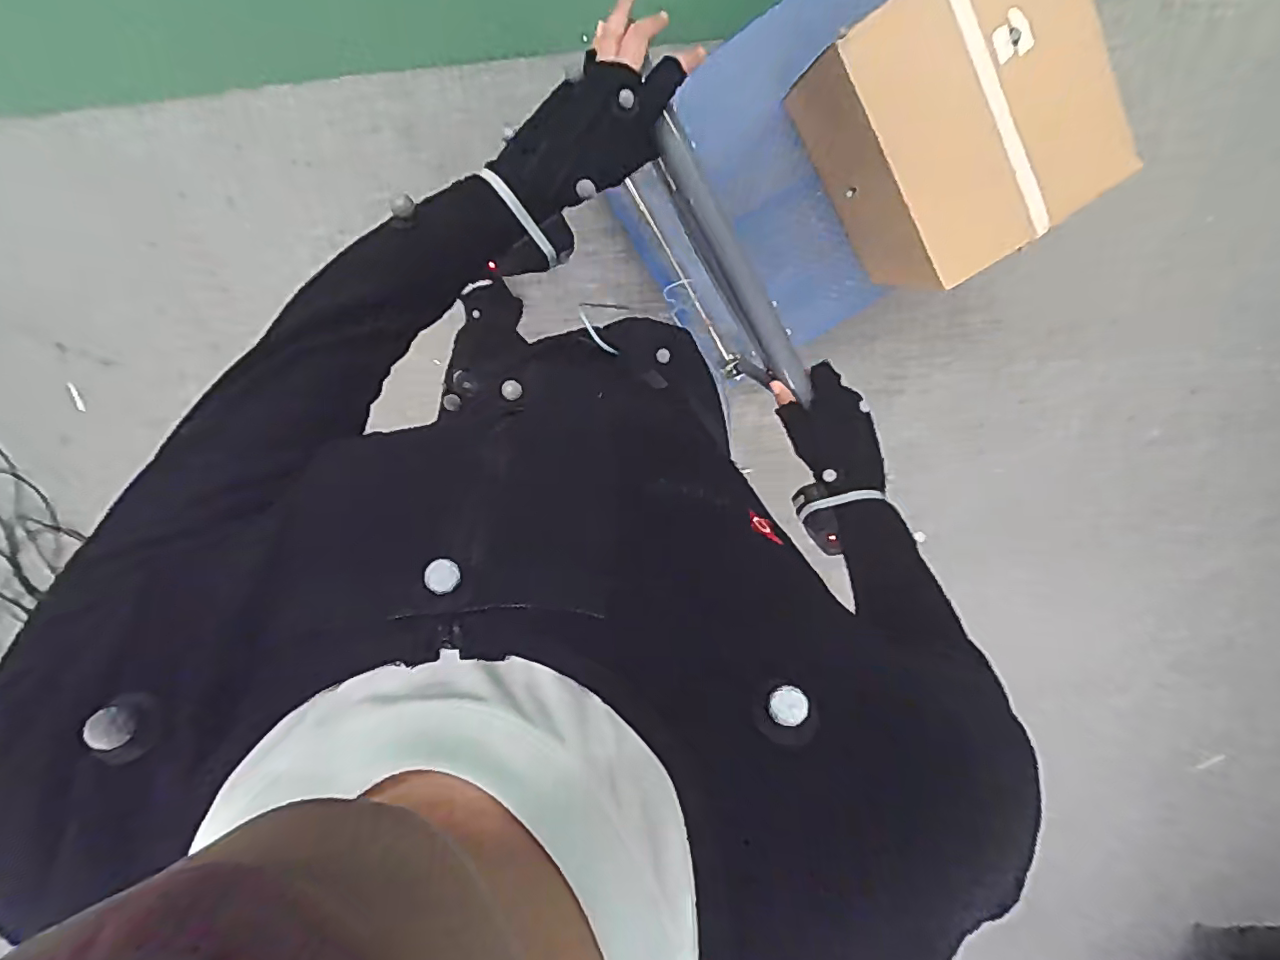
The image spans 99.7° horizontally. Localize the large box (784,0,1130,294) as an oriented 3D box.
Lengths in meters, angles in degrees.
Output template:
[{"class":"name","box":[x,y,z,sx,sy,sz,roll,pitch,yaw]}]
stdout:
[{"class":"large box","box":[0.503,-0.584,0.923,0.320,0.320,0.408,-32,107,12]}]
